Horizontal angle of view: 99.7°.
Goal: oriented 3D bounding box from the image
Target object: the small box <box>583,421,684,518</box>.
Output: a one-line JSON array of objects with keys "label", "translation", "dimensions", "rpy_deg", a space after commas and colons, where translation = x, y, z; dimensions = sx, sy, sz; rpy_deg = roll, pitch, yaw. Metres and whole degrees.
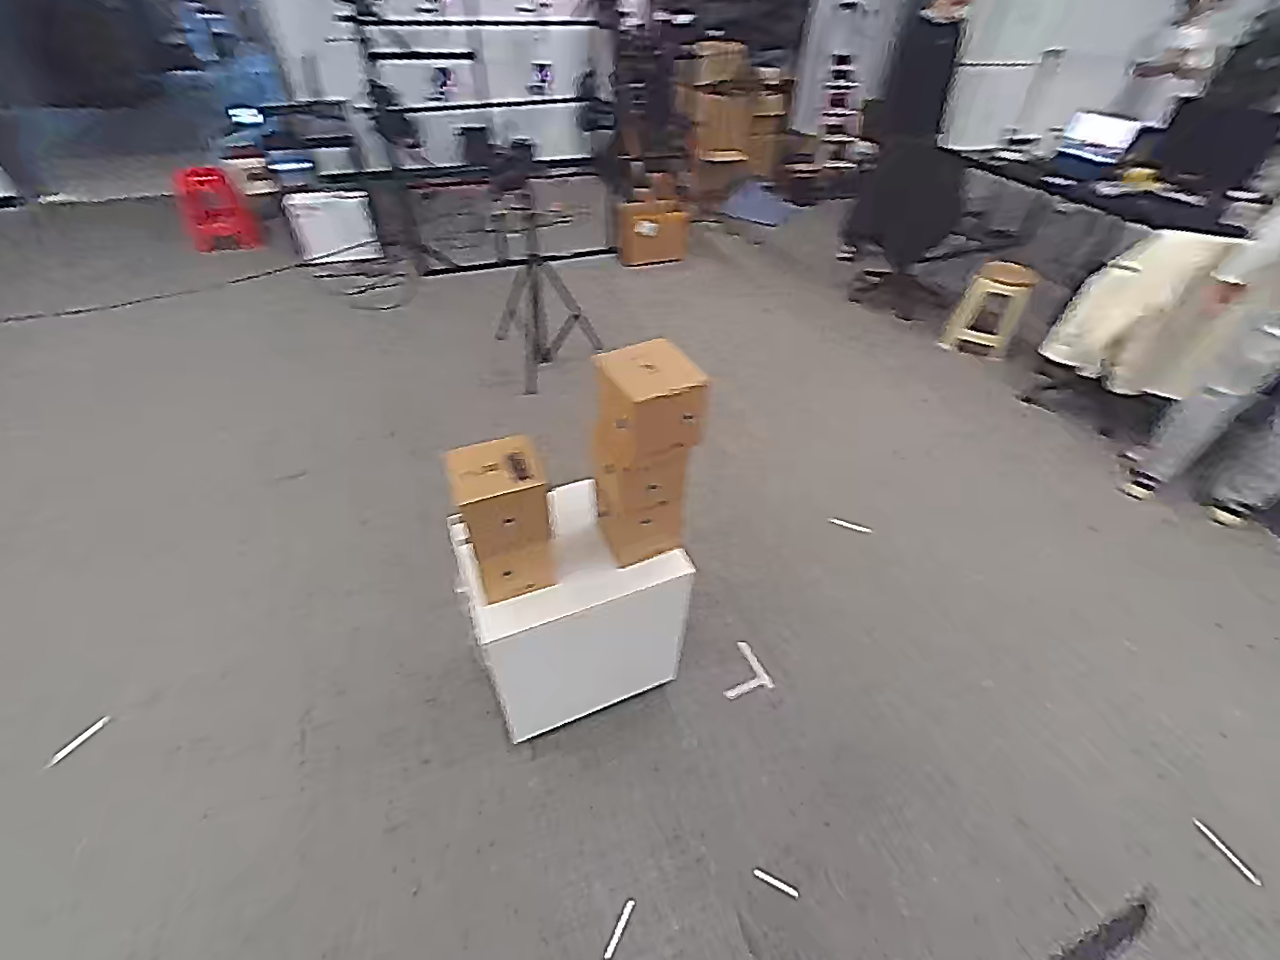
[{"label": "small box", "translation": [-0.016, -0.035, 1.201], "dimensions": [0.168, 0.176, 0.179], "rpy_deg": [-17, 47, -19]}]

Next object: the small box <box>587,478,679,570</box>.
[{"label": "small box", "translation": [-0.020, 0.085, 1.316], "dimensions": [0.168, 0.176, 0.179], "rpy_deg": [-19, 47, -19]}]

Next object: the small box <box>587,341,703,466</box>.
[{"label": "small box", "translation": [0.006, -0.148, 1.086], "dimensions": [0.168, 0.176, 0.179], "rpy_deg": [-21, 48, -23]}]

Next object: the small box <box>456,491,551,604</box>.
[{"label": "small box", "translation": [-0.307, 0.159, 1.228], "dimensions": [0.168, 0.176, 0.179], "rpy_deg": [-15, 46, -18]}]
